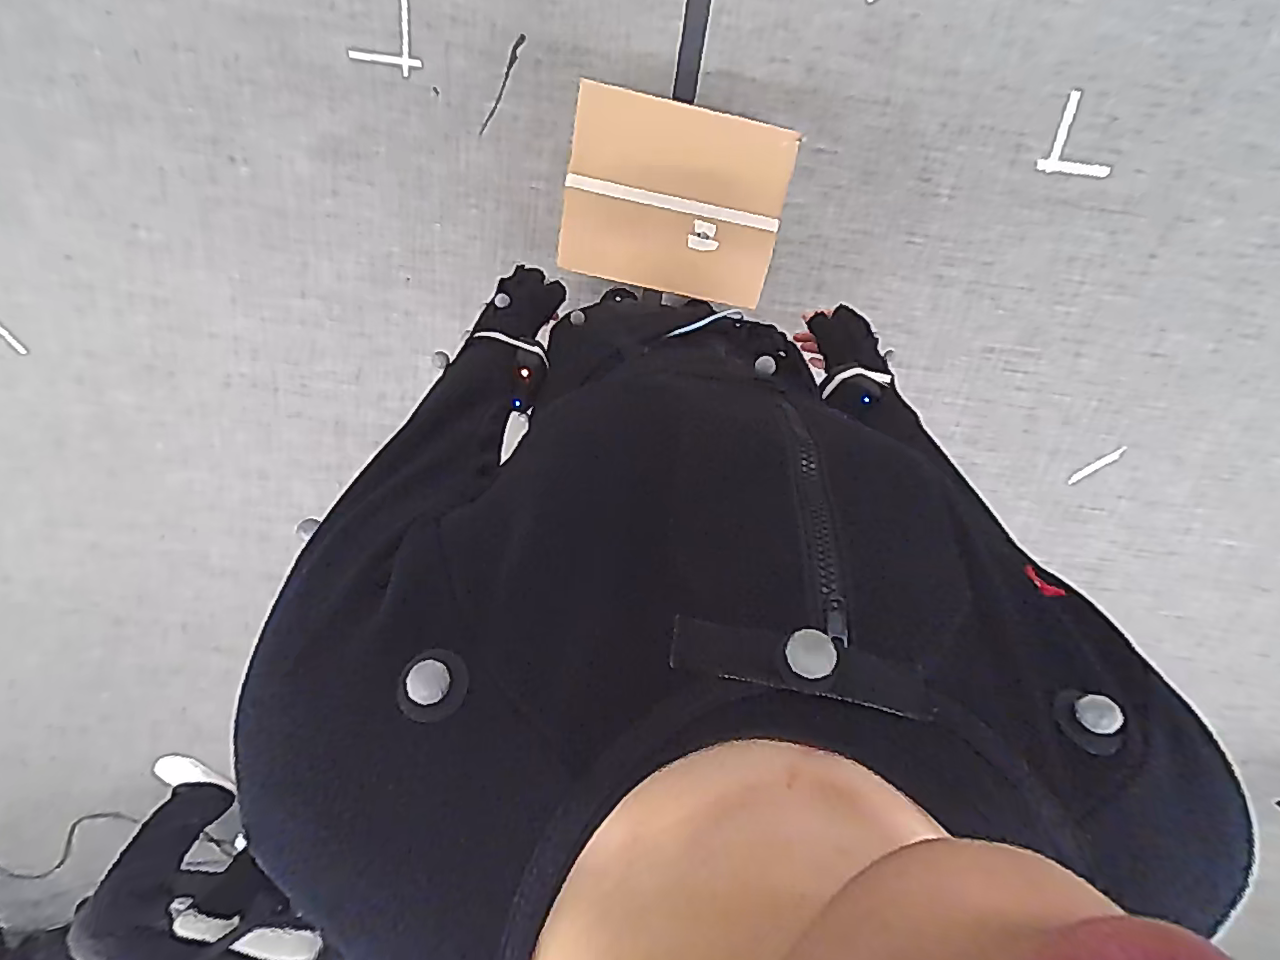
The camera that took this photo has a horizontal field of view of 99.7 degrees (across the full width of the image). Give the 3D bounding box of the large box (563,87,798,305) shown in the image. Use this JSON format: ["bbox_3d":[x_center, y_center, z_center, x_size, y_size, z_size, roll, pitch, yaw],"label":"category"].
[{"bbox_3d":[0.063,-0.580,1.162,0.408,0.320,0.320,10,112,-6],"label":"large box"}]
